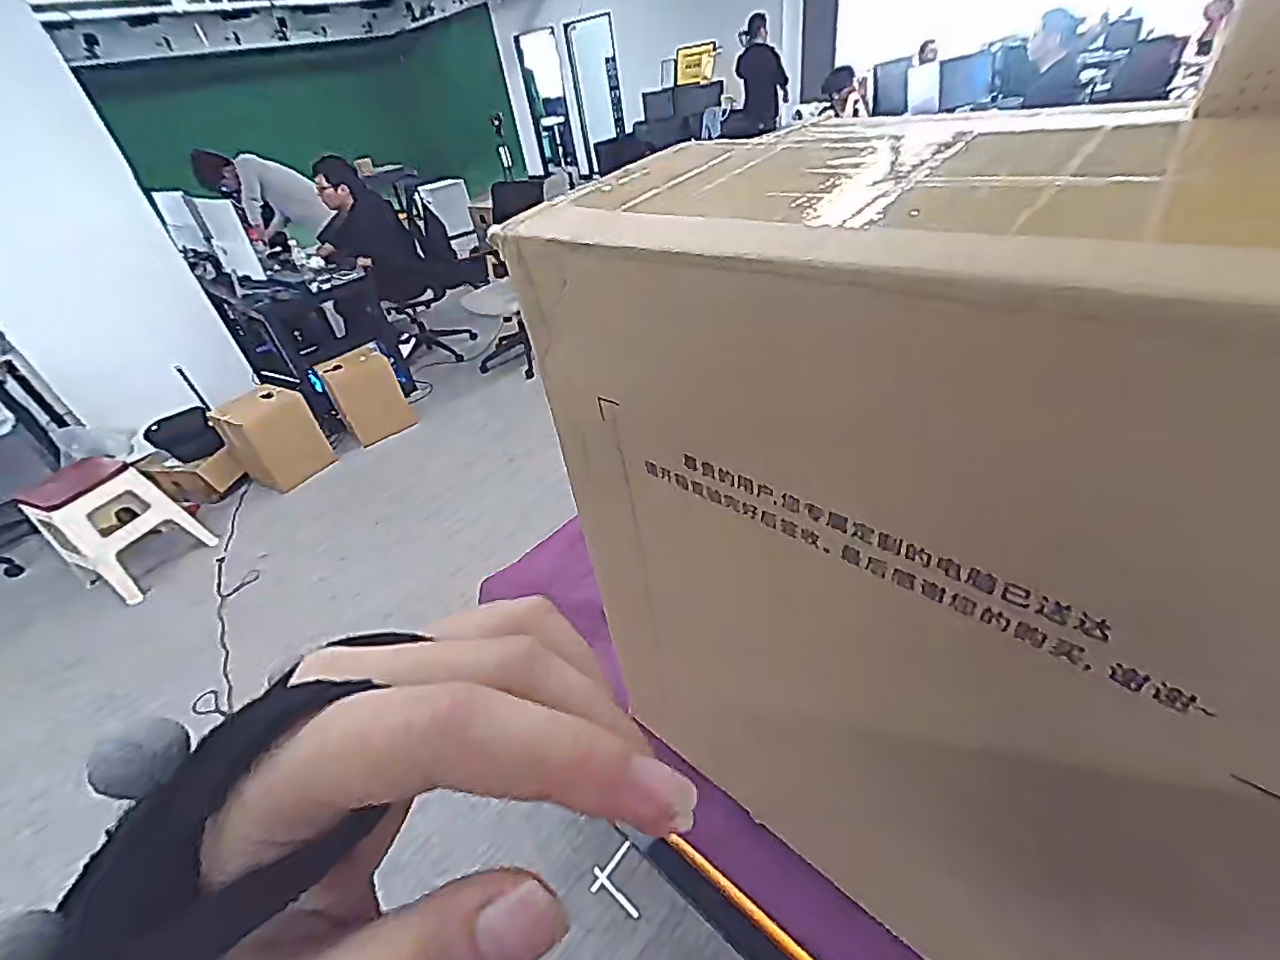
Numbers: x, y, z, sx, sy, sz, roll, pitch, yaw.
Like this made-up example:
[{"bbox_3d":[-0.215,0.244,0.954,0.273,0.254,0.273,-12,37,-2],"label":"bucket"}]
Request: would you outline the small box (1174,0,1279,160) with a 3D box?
[{"bbox_3d":[0.383,-0.251,0.230,0.179,0.176,0.168,19,46,35],"label":"small box"}]
